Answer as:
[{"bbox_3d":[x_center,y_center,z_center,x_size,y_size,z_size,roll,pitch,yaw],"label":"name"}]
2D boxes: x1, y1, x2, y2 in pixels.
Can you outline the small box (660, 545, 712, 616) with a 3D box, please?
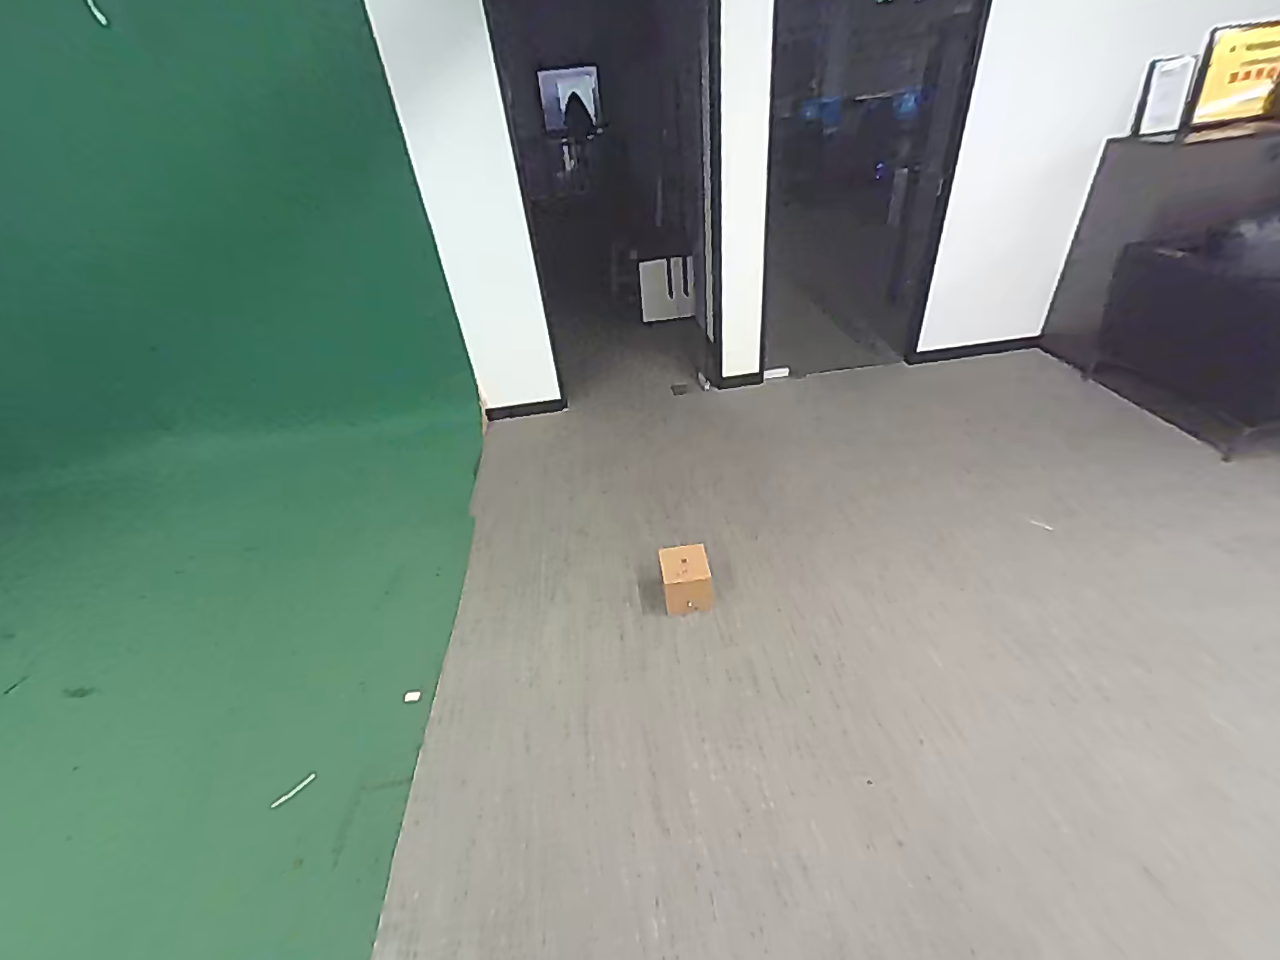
[{"bbox_3d":[0.163,0.360,1.938,0.168,0.176,0.179,-7,36,-1],"label":"small box"}]
